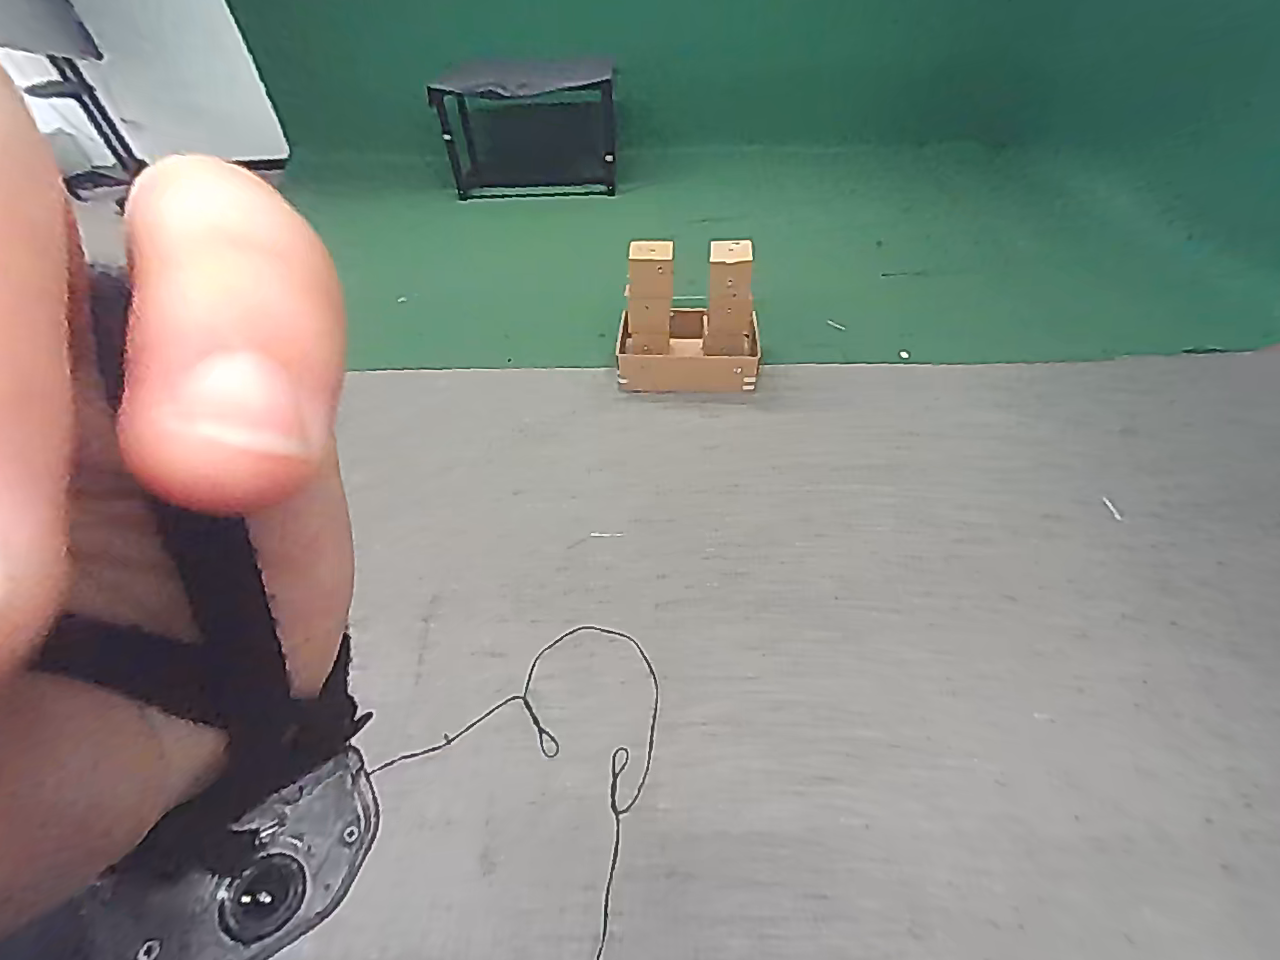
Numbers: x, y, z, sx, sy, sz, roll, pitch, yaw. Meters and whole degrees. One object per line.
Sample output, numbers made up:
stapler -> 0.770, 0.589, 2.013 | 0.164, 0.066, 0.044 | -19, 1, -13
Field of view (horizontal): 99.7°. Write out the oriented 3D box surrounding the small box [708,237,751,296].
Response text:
small box -> 0.362, -0.864, 2.197 | 0.168, 0.176, 0.179 | 2, 50, 7

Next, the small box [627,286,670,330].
small box -> 0.039, -0.765, 2.345 | 0.179, 0.176, 0.168 | 2, 48, 3

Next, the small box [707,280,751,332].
small box -> 0.375, -0.747, 2.313 | 0.179, 0.176, 0.168 | 0, 50, 3

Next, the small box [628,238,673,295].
small box -> 0.045, -0.874, 2.220 | 0.179, 0.176, 0.168 | 1, 47, 3

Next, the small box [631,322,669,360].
small box -> 0.049, -0.662, 2.473 | 0.168, 0.176, 0.179 | 1, 48, 3
